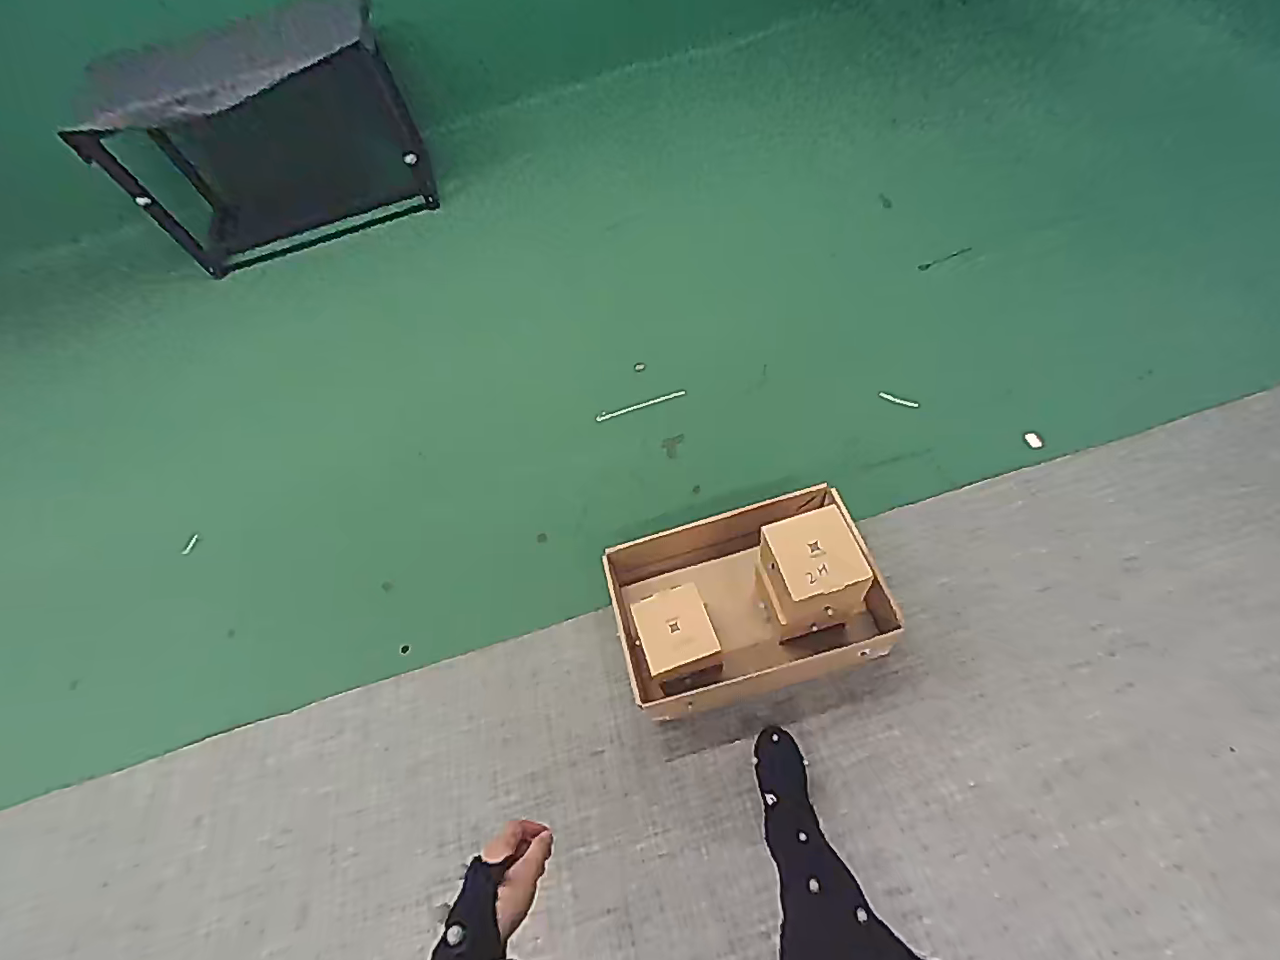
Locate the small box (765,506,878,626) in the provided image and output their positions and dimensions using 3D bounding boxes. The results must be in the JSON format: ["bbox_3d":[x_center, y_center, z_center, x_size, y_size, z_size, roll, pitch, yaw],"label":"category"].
[{"bbox_3d":[0.371,0.186,1.144,0.168,0.176,0.179,-18,58,1],"label":"small box"}]
